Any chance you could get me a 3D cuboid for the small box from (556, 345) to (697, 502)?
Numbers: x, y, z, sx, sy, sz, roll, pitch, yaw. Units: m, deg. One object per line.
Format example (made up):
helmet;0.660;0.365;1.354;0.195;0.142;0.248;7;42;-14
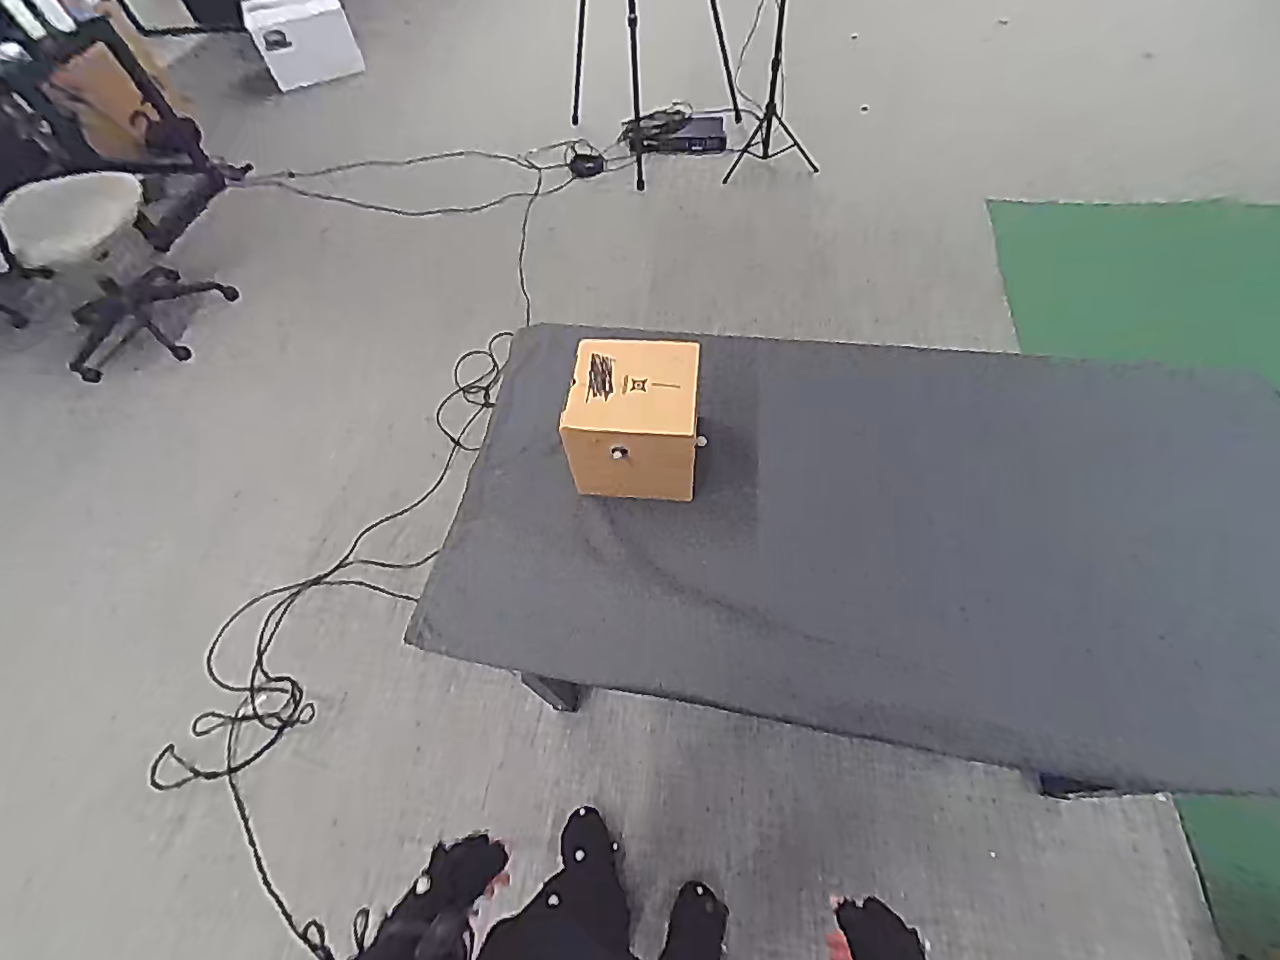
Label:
small box;-0.009;-0.079;0.800;0.179;0.176;0.168;4;58;6
